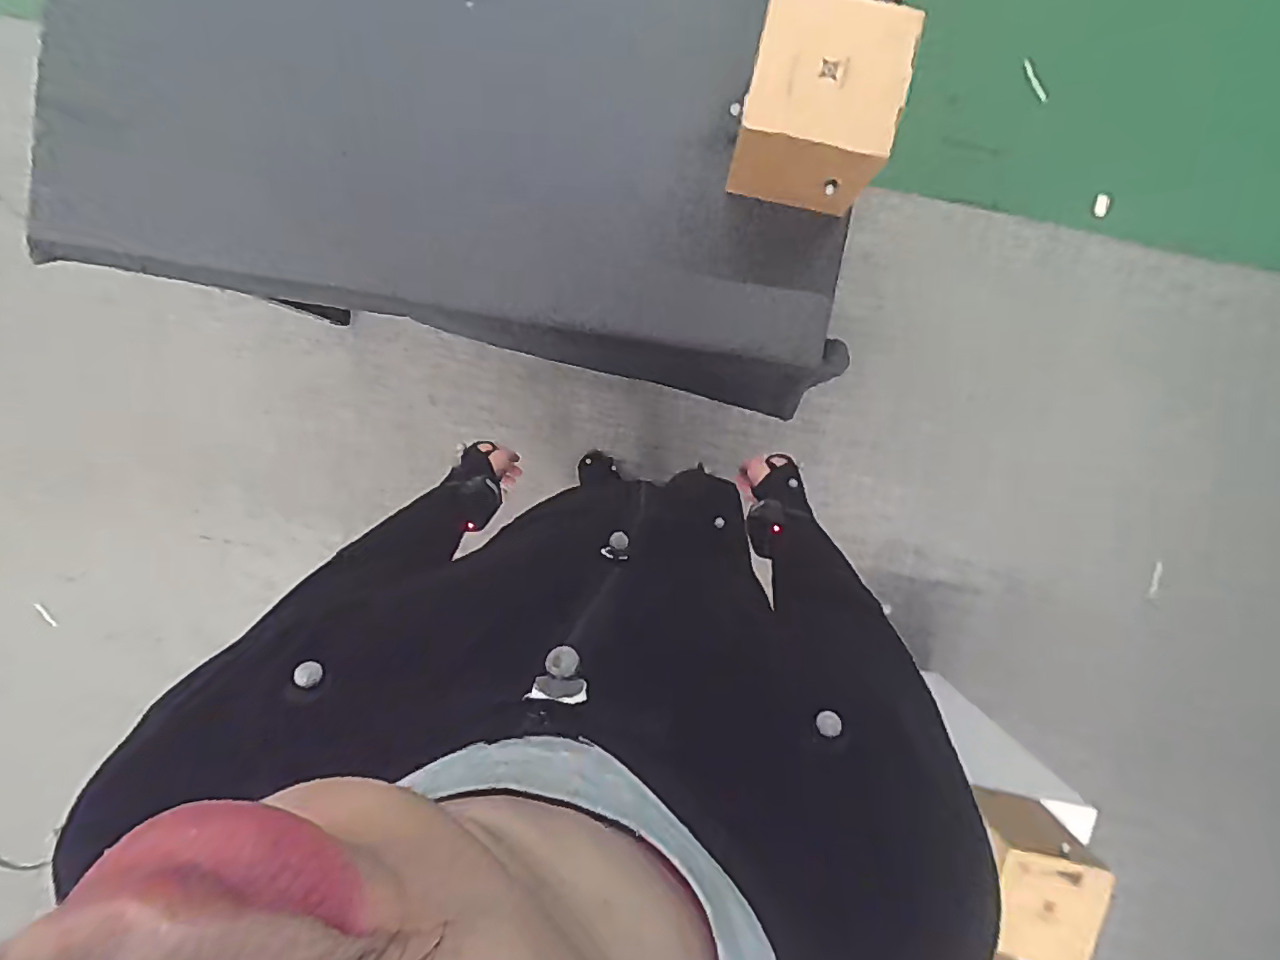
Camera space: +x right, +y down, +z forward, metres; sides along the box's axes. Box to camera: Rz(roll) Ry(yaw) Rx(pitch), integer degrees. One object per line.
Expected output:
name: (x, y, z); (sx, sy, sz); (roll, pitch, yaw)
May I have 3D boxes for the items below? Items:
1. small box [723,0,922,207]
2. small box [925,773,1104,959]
small box: (0.215, -0.472, 0.687); (0.179, 0.176, 0.168); (13, 95, 2)
small box: (0.616, 0.643, 0.917); (0.168, 0.176, 0.179); (13, 98, 0)
